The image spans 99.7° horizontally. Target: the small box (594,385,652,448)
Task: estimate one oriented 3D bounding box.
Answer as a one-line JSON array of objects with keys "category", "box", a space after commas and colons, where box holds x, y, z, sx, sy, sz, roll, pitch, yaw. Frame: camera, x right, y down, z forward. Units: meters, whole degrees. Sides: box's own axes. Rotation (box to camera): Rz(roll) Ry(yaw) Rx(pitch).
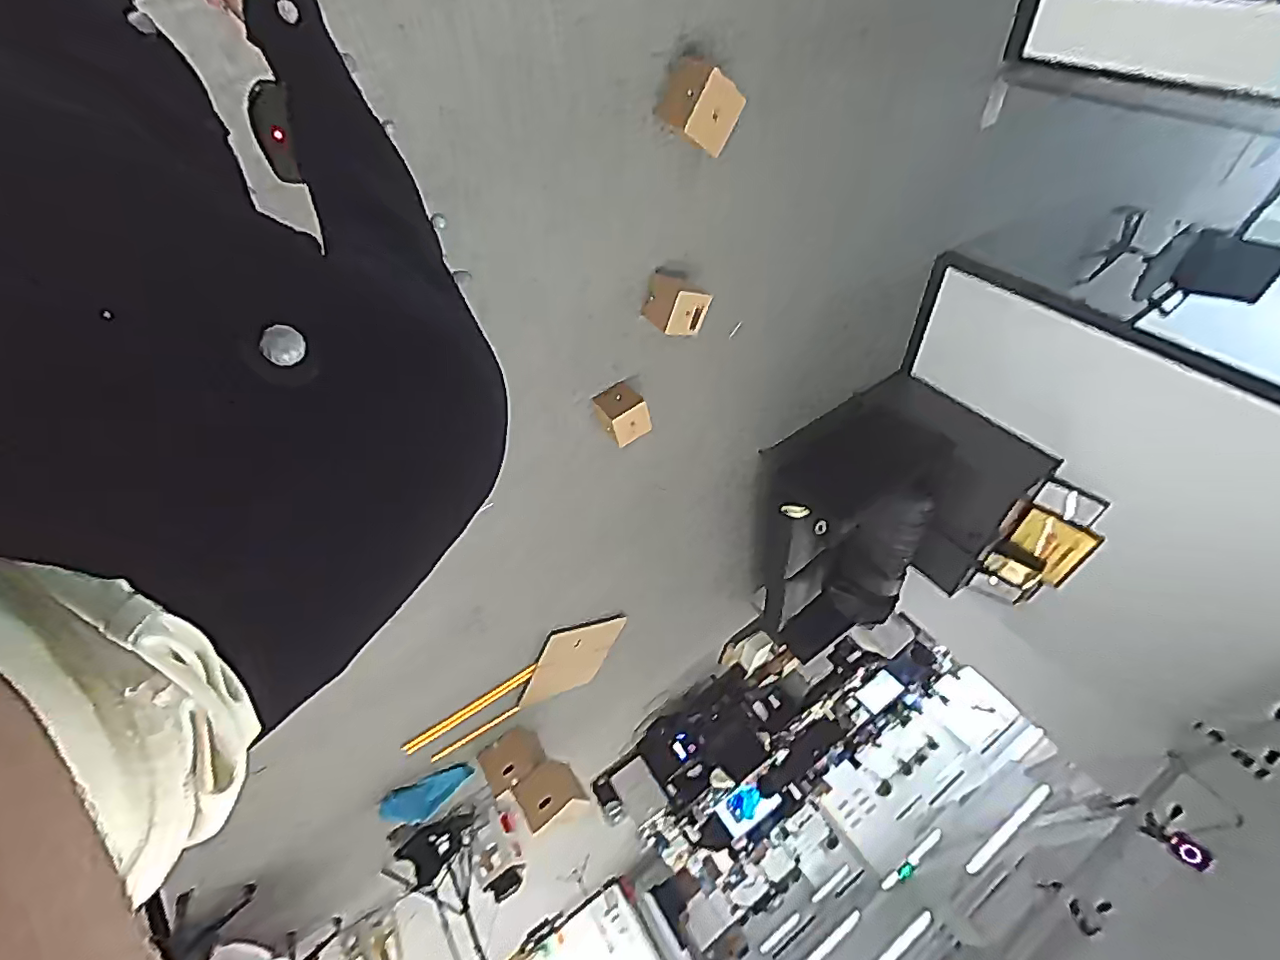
[{"category": "small box", "box": [-0.071, -0.274, 2.262, 0.168, 0.176, 0.179, -33, 144, -13]}]
